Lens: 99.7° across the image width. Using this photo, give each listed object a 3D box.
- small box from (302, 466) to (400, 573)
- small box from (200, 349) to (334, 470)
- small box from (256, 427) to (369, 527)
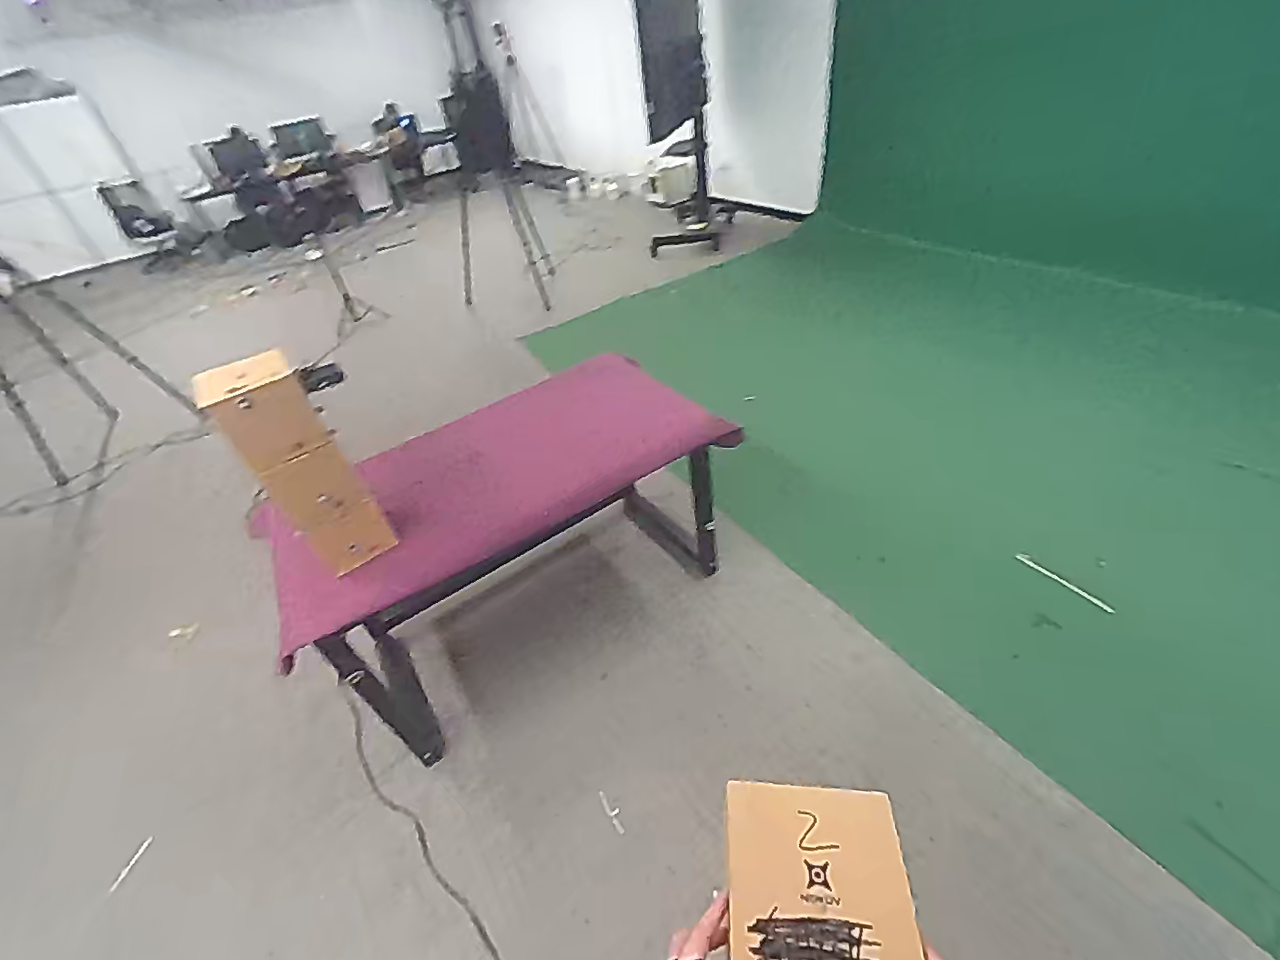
[{"bbox_3d":[-0.732,0.099,1.348,0.168,0.176,0.179,-32,45,-25],"label":"small box"},{"bbox_3d":[-0.780,-0.148,1.136,0.168,0.176,0.179,-31,44,-24],"label":"small box"},{"bbox_3d":[-0.758,-0.022,1.239,0.168,0.176,0.179,-33,45,-25],"label":"small box"}]
